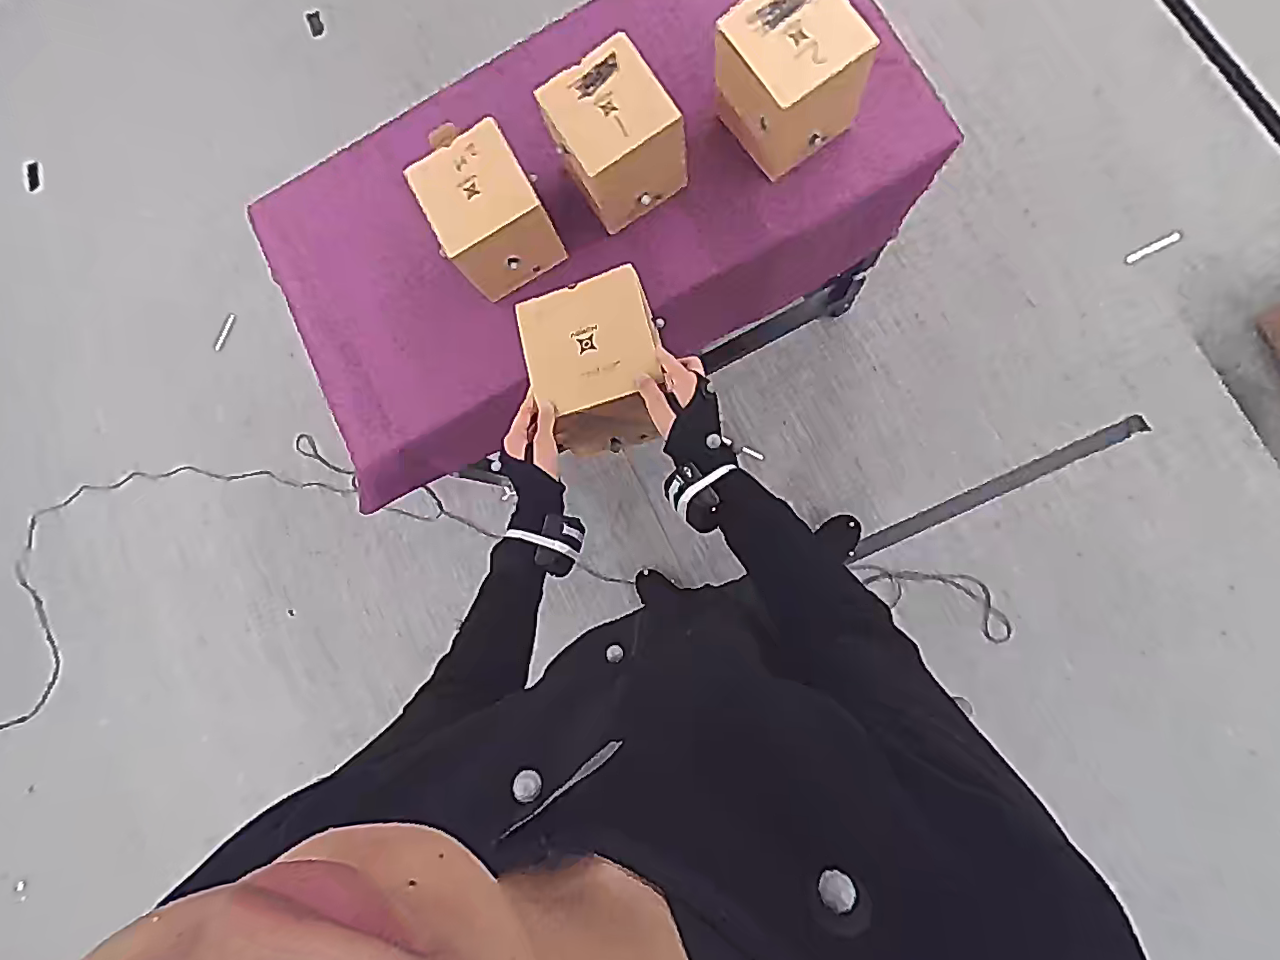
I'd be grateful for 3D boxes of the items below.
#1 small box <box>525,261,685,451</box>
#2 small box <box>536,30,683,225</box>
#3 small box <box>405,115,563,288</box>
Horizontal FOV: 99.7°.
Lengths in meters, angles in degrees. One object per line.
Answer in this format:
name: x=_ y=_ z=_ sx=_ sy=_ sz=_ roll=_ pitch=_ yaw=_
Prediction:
small box: x=-0.043 y=-0.162 z=0.756 sx=0.168 sy=0.176 sz=0.179 roll=-16 pitch=72 yaw=9
small box: x=-0.043 y=-0.572 z=0.902 sx=0.168 sy=0.176 sz=0.179 roll=-32 pitch=82 yaw=4
small box: x=-0.253 y=-0.455 z=0.920 sx=0.168 sy=0.176 sz=0.179 roll=-29 pitch=81 yaw=4
